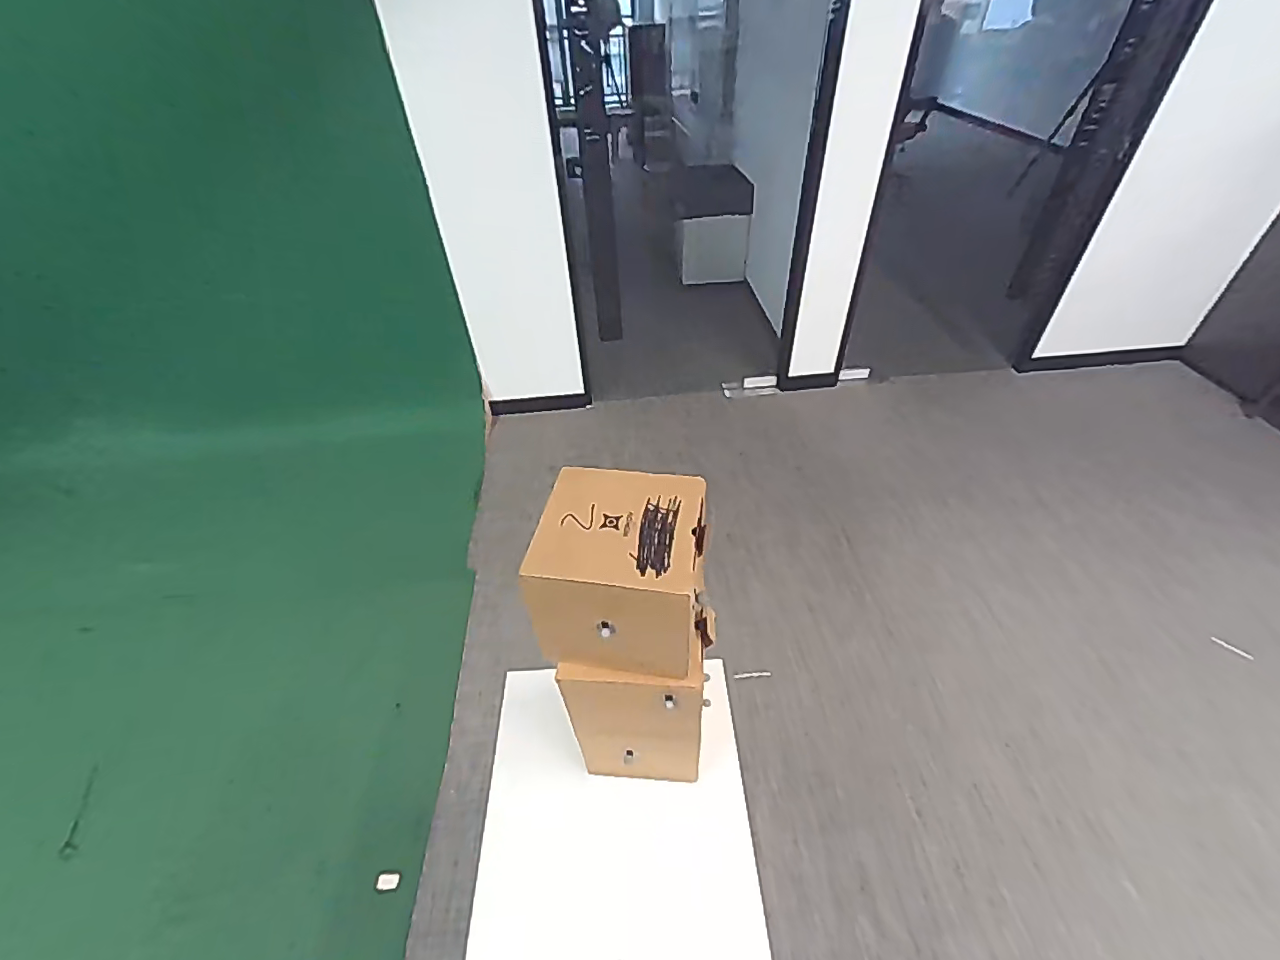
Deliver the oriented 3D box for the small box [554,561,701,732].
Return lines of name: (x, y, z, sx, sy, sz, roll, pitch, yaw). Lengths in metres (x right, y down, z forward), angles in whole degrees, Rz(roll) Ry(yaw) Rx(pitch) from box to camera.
small box: (-0.006, 0.229, 0.741, 0.179, 0.176, 0.168, 1, 44, 4)

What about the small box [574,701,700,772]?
small box: (0.005, 0.344, 0.855, 0.179, 0.176, 0.168, 1, 44, 5)
